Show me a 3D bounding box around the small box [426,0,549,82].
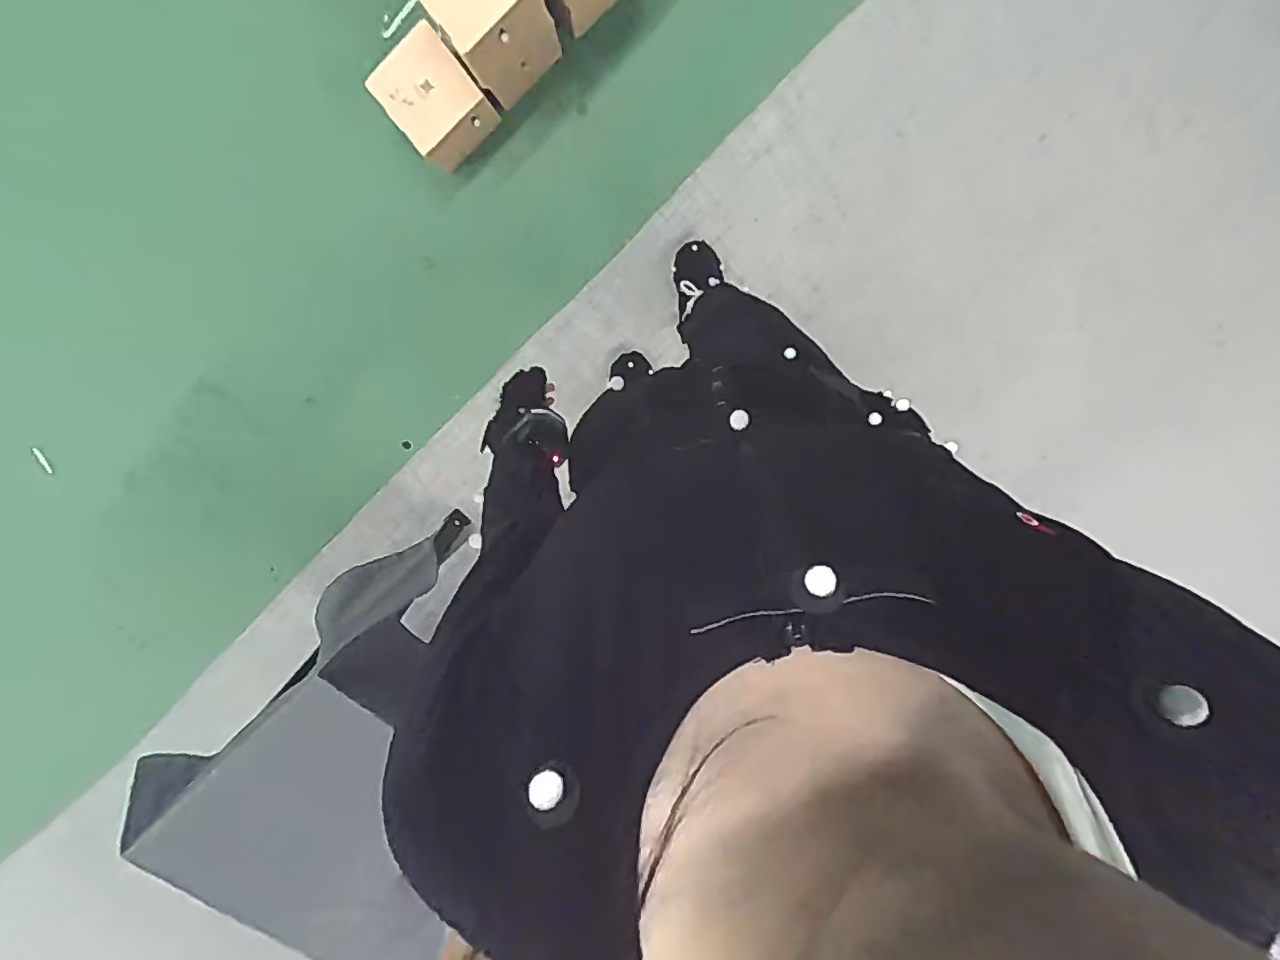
[{"bbox_3d":[-0.278,-0.864,0.958,0.179,0.176,0.168,-35,107,12],"label":"small box"}]
